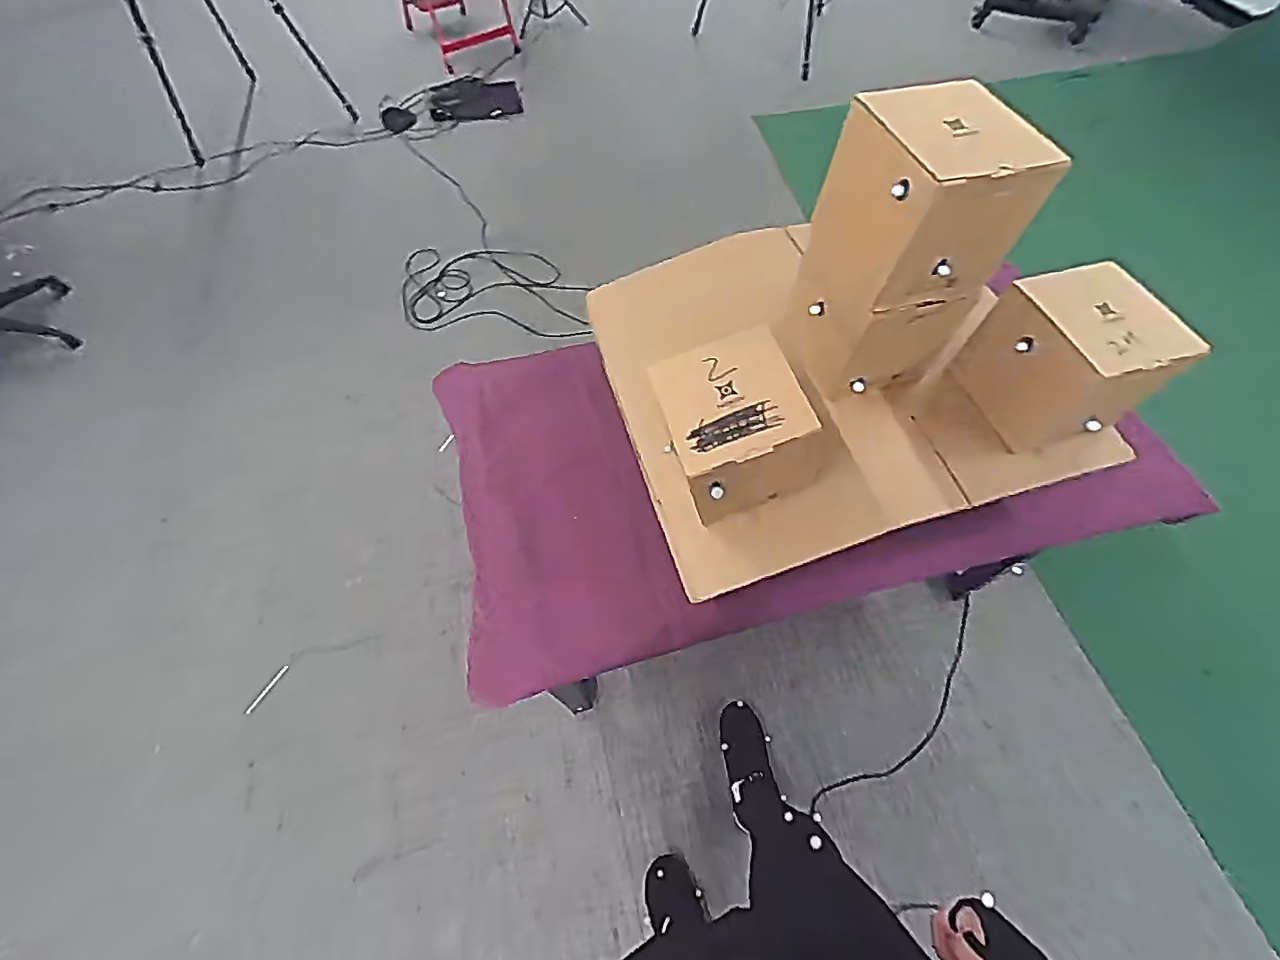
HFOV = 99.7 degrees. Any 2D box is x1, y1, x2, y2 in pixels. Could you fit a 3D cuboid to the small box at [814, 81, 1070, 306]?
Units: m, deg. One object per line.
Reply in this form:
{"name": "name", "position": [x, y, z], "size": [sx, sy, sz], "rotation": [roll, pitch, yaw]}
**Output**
{"name": "small box", "position": [0.339, -0.341, 0.651], "size": [0.168, 0.176, 0.179], "rotation": [-15, 63, -12]}

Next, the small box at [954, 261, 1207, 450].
{"name": "small box", "position": [0.586, -0.169, 0.752], "size": [0.168, 0.176, 0.179], "rotation": [-14, 62, -10]}

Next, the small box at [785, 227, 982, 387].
{"name": "small box", "position": [0.337, -0.253, 0.787], "size": [0.168, 0.176, 0.179], "rotation": [-14, 61, -11]}
